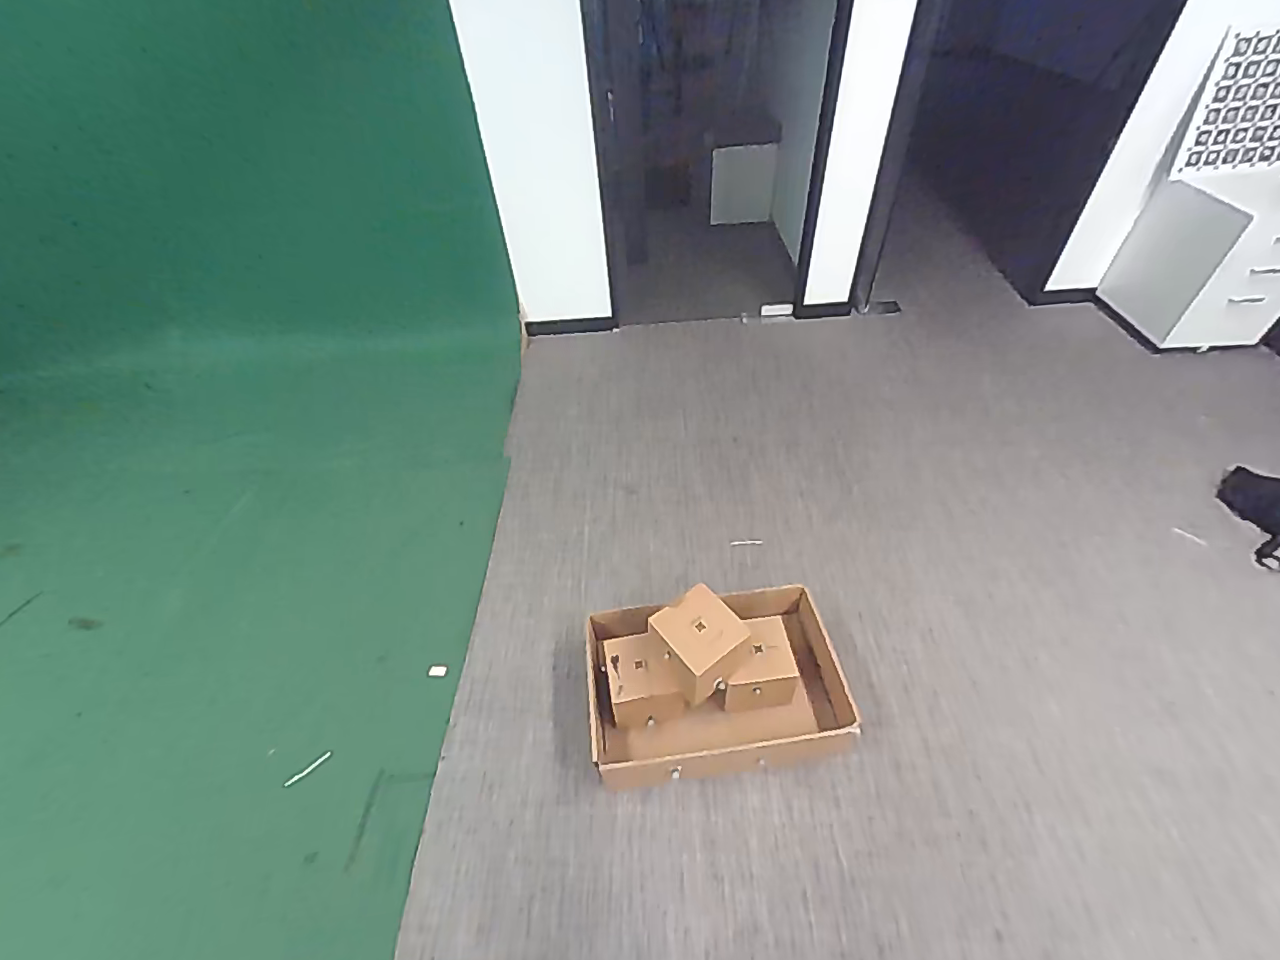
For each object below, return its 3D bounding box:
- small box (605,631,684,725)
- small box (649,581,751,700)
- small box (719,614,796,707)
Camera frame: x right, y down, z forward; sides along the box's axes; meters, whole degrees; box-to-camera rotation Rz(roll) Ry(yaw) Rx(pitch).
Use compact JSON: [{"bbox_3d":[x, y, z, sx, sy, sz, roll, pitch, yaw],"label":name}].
[{"bbox_3d":[0.009,0.505,1.385,0.179,0.176,0.168,-8,45,-6],"label":"small box"},{"bbox_3d":[0.136,0.379,1.274,0.168,0.176,0.179,-30,53,-23],"label":"small box"},{"bbox_3d":[0.288,0.470,1.398,0.179,0.176,0.168,-7,46,-1],"label":"small box"}]
